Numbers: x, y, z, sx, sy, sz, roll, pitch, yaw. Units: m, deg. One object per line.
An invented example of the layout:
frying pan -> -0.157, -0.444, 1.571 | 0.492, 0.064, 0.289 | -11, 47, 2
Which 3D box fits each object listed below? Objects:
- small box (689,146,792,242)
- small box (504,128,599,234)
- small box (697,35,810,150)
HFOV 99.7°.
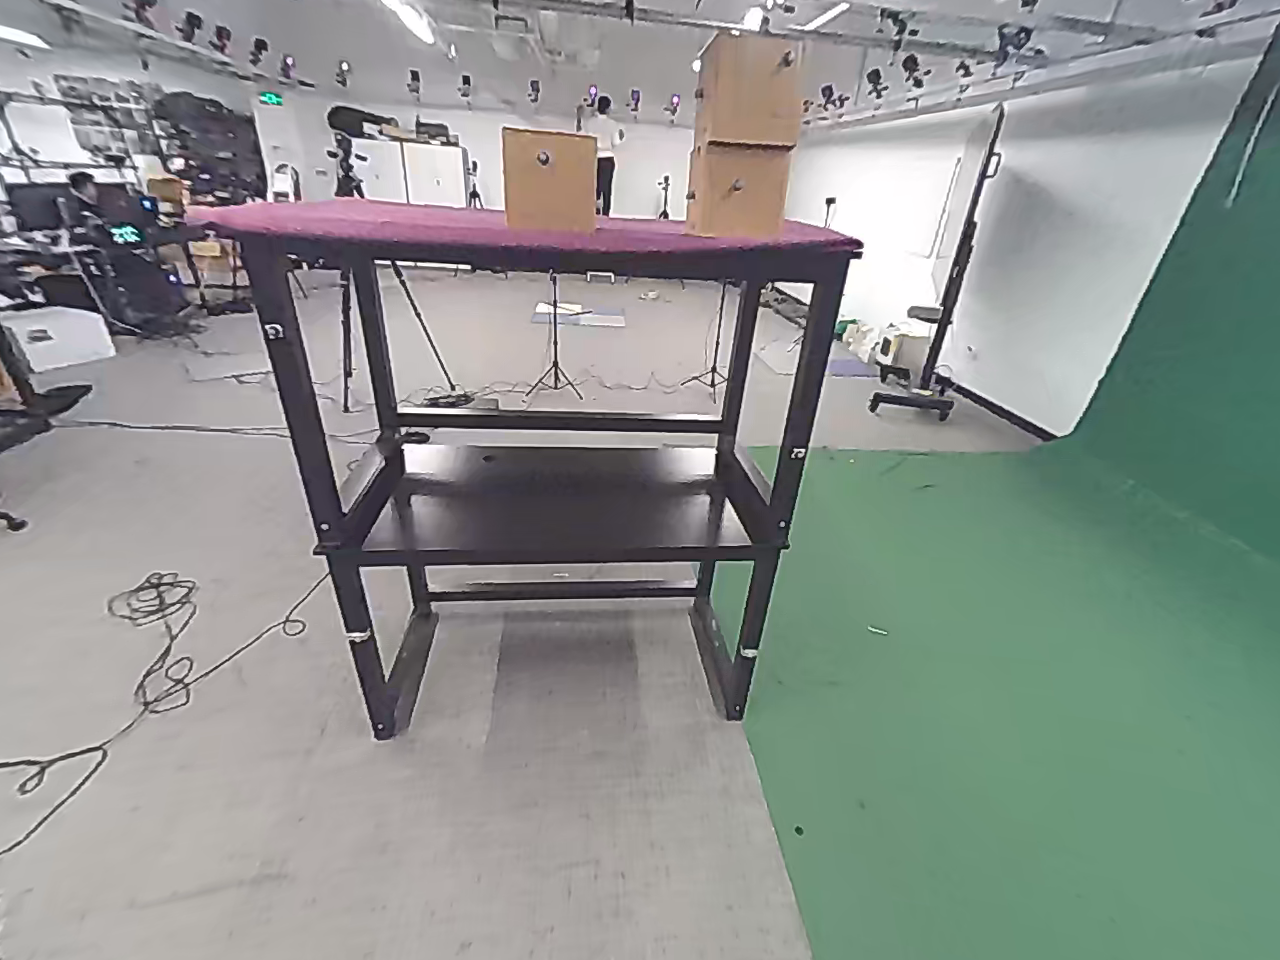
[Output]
small box -> 0.203, -0.600, 1.148 | 0.179, 0.176, 0.168 | -1, 27, -6
small box -> -0.173, -0.596, 1.092 | 0.179, 0.176, 0.168 | 2, 29, -7
small box -> 0.212, -0.740, 1.063 | 0.179, 0.176, 0.168 | 0, 26, -6
